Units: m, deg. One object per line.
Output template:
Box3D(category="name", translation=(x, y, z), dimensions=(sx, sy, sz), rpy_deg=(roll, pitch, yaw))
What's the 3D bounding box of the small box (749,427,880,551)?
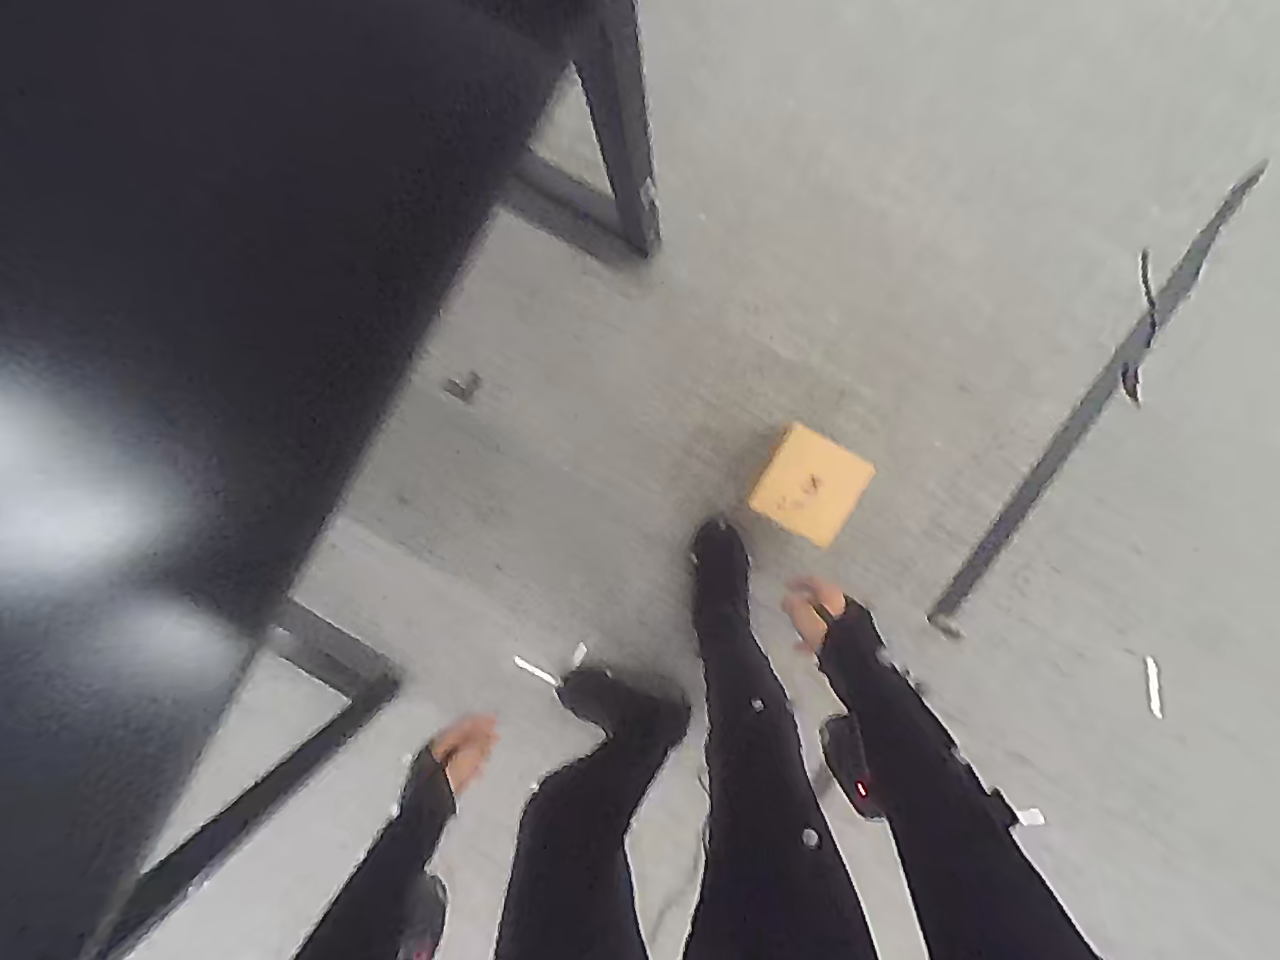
Box3D(category="small box", translation=(0.327, 0.011, 1.058), dimensions=(0.168, 0.176, 0.179), rpy_deg=(29, 96, 2))
